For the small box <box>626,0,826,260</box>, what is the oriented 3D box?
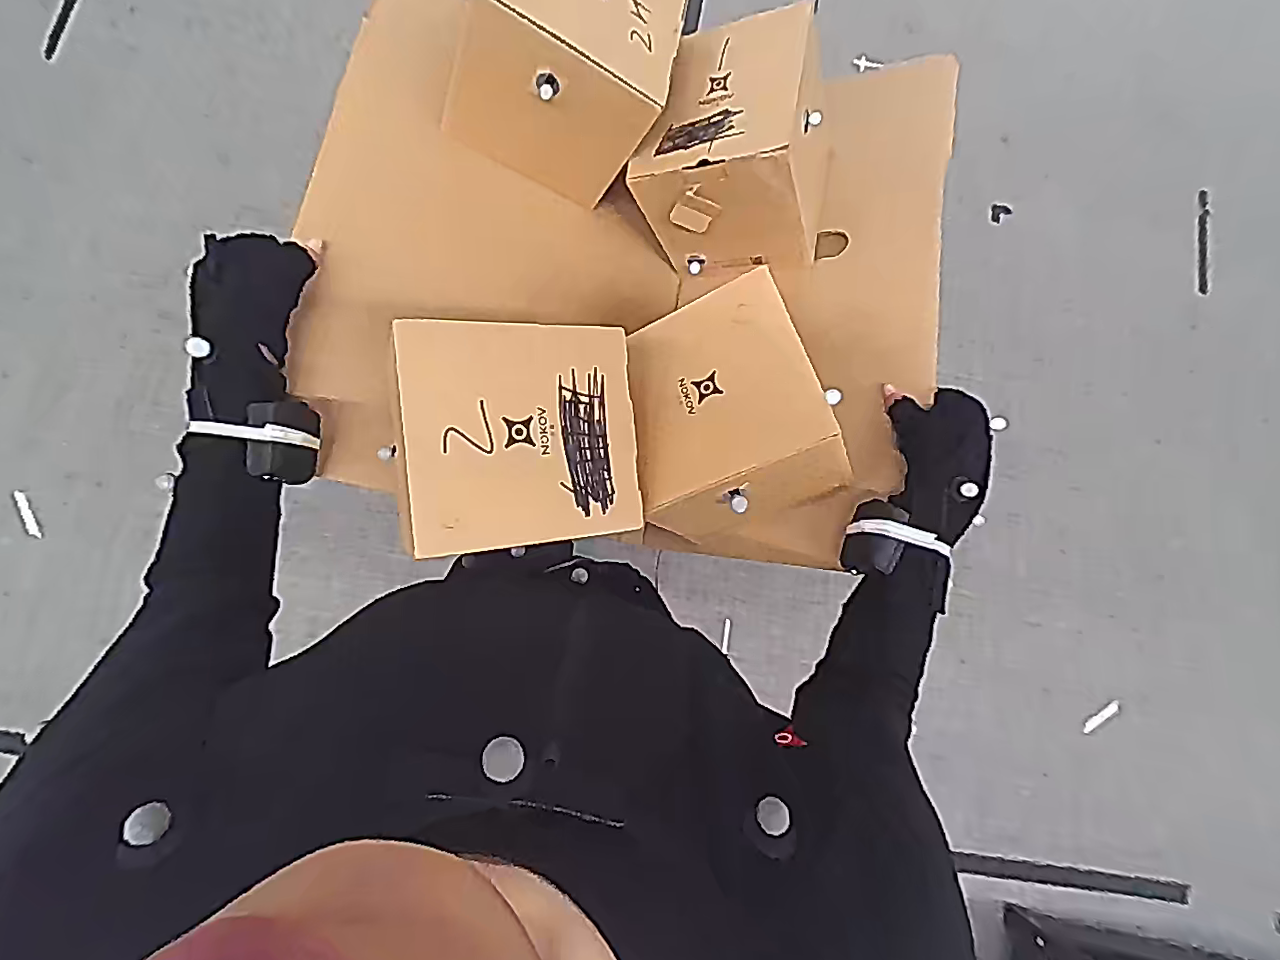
[{"bbox_3d":[0.107,-0.365,0.601,0.168,0.176,0.179,6,76,26],"label":"small box"}]
